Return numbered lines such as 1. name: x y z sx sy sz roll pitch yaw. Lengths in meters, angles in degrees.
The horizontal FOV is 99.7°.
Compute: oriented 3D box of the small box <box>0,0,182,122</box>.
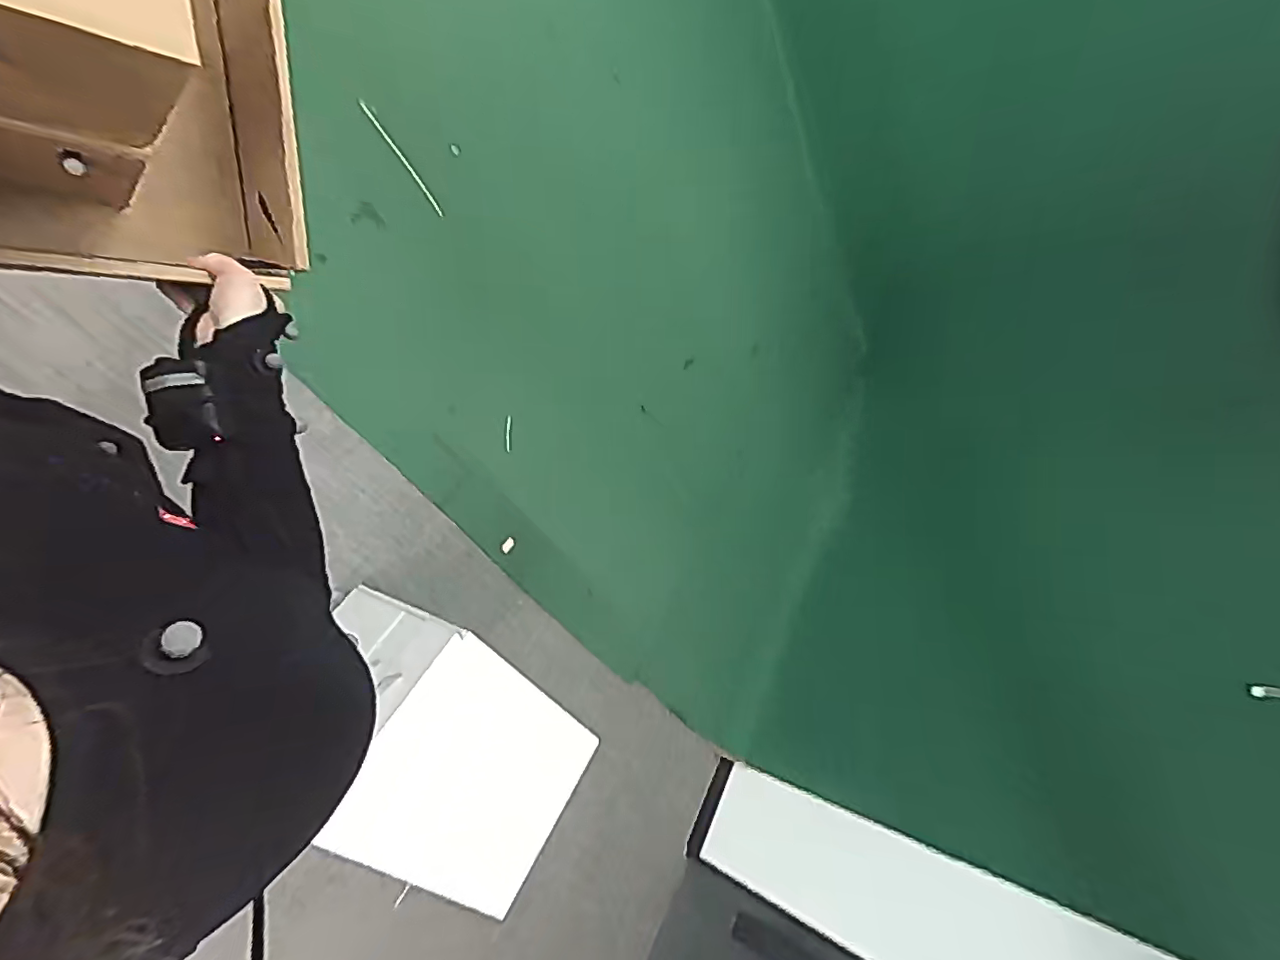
1. small box: -0.363 -0.305 0.261 0.179 0.176 0.168 -16 110 -47
